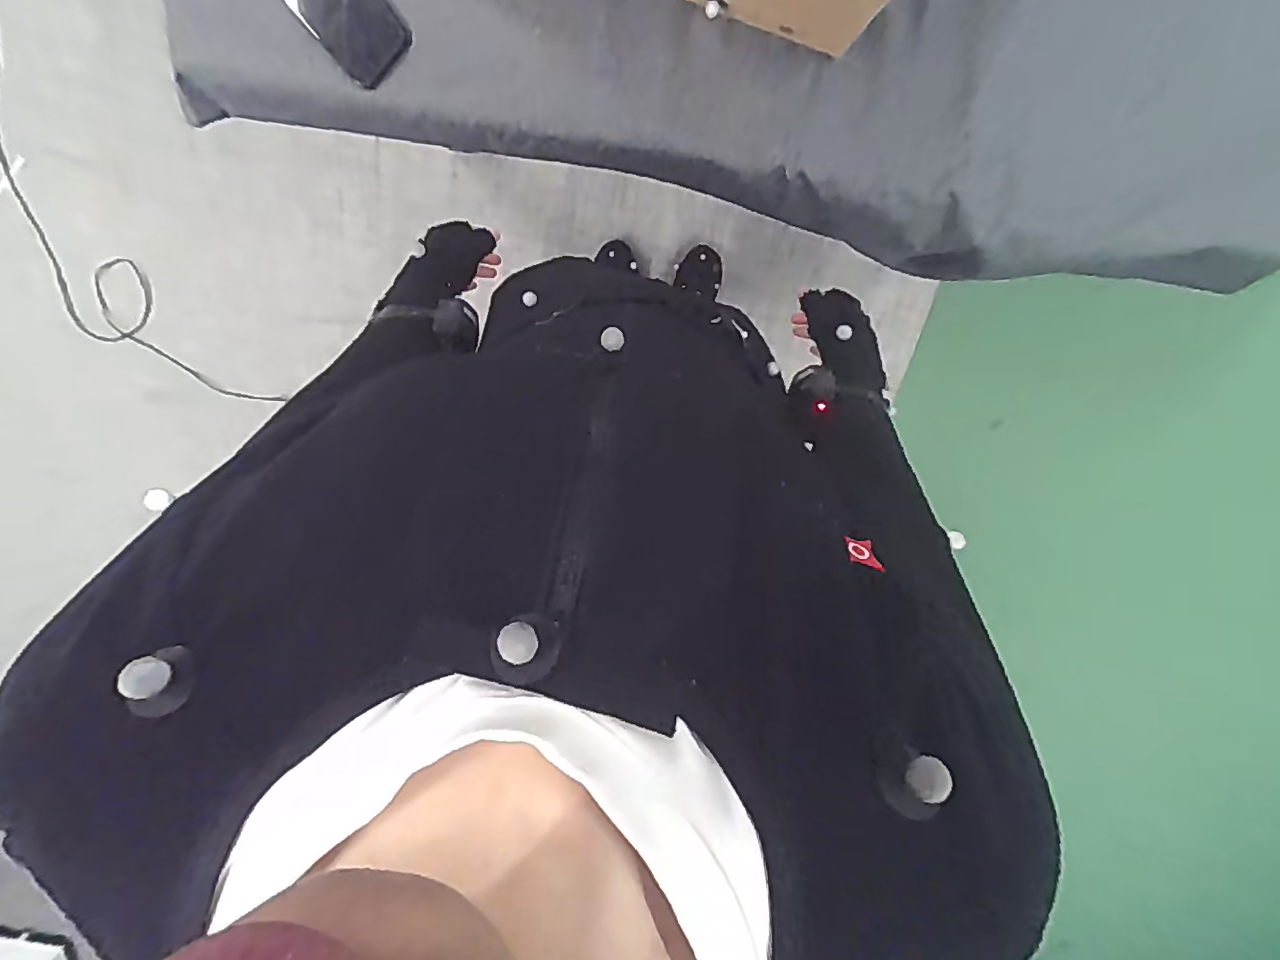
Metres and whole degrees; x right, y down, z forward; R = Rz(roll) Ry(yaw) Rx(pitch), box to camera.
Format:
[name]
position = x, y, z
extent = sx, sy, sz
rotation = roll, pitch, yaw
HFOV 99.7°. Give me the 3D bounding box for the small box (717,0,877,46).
[small box]
position = 0.141, -0.483, 0.417
extent = 0.168, 0.176, 0.179
rotation = 17, 113, -4
